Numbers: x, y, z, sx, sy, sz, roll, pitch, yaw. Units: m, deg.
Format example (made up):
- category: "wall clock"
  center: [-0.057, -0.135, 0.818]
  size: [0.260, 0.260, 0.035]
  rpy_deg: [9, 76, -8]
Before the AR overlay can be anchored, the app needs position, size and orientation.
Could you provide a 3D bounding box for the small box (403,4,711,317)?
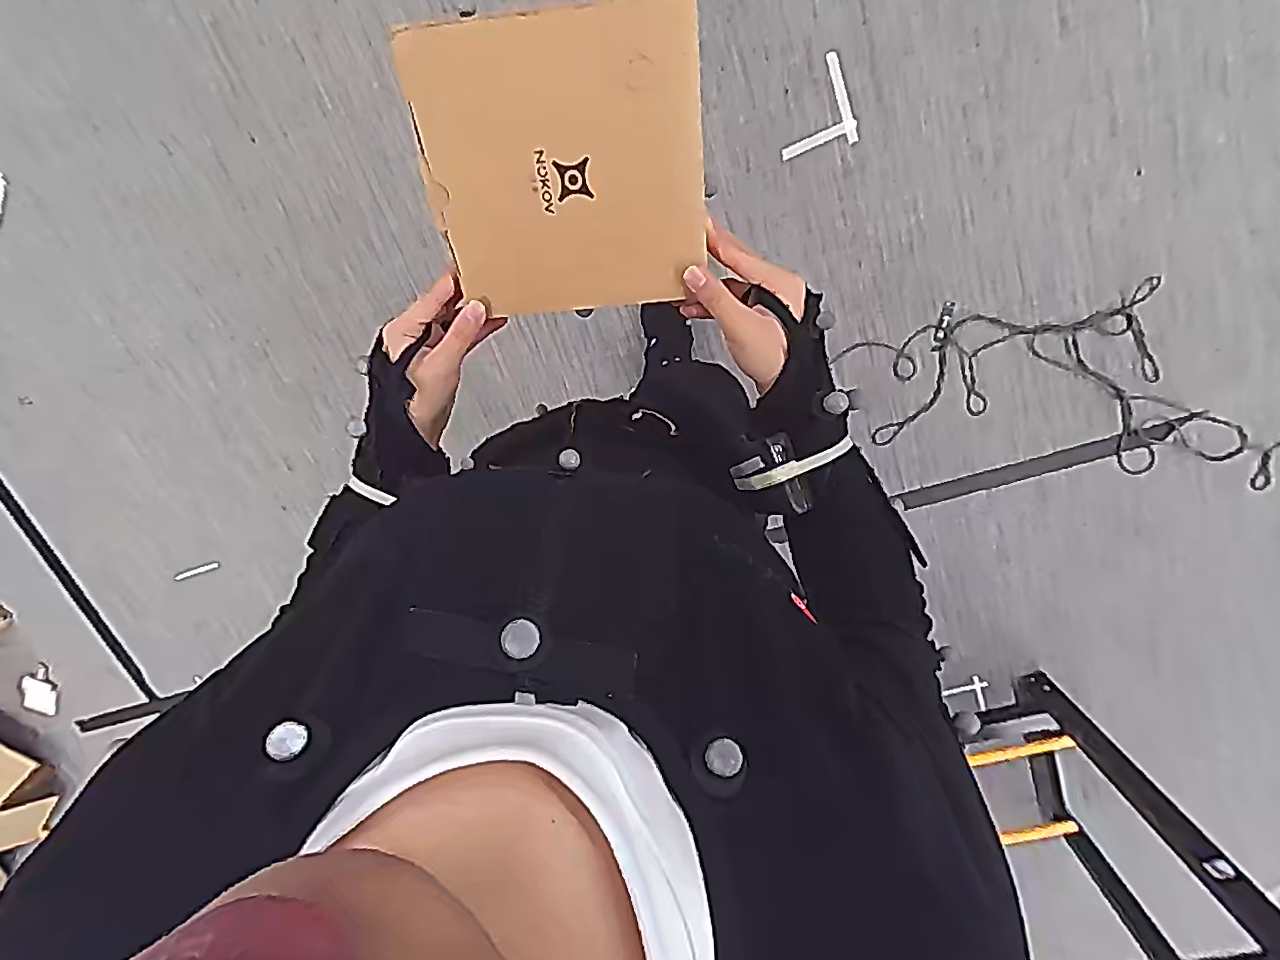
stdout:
- category: "small box"
  center: [-0.041, -0.237, 0.411]
  size: [0.179, 0.176, 0.168]
  rpy_deg: [-3, 125, 5]
